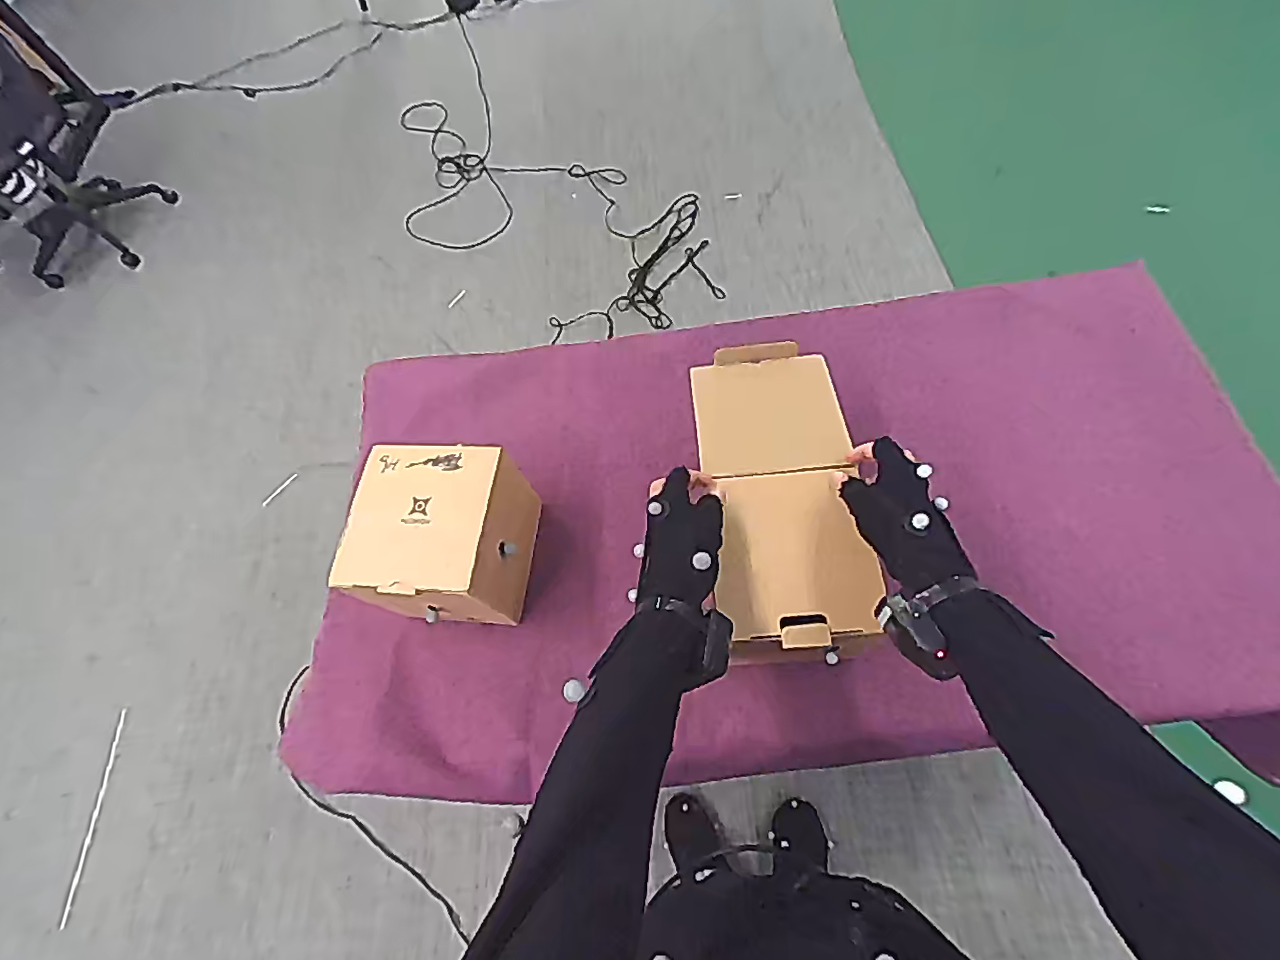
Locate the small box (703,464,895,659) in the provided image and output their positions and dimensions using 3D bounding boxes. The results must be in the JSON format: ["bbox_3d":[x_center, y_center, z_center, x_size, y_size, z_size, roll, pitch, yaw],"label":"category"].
[{"bbox_3d":[0.161,0.101,0.606,0.168,0.176,0.179,-5,63,6],"label":"small box"}]

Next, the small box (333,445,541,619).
[{"bbox_3d":[-0.235,0.072,0.678,0.168,0.176,0.179,2,65,9],"label":"small box"}]
